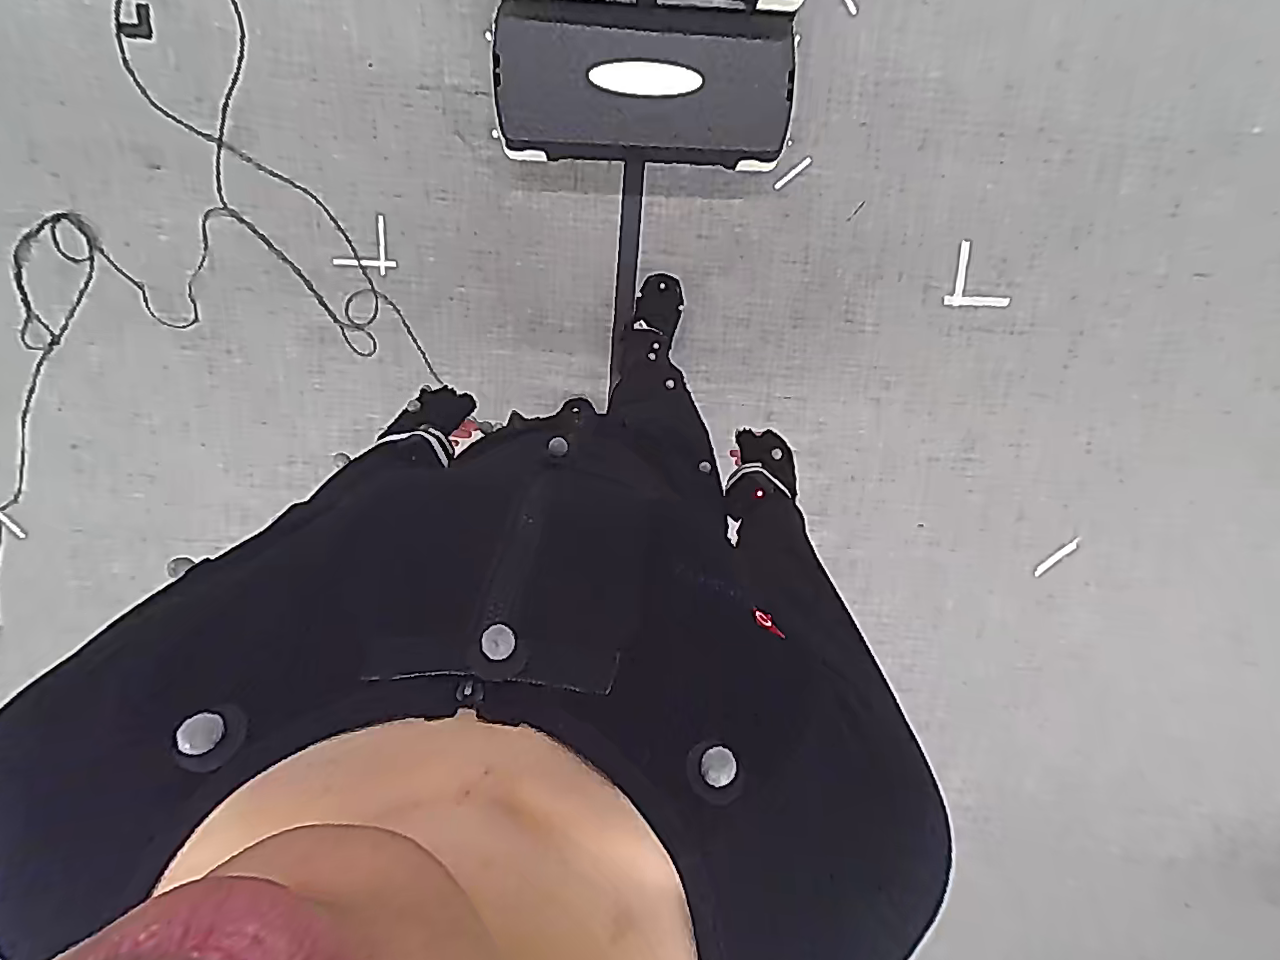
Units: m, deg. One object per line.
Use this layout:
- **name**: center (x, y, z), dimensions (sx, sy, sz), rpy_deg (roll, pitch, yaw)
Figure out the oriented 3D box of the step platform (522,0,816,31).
- **step platform**: center (0.062, -1.166, 1.119), dimensions (0.684, 0.204, 0.286), rpy_deg (1, 103, -4)
